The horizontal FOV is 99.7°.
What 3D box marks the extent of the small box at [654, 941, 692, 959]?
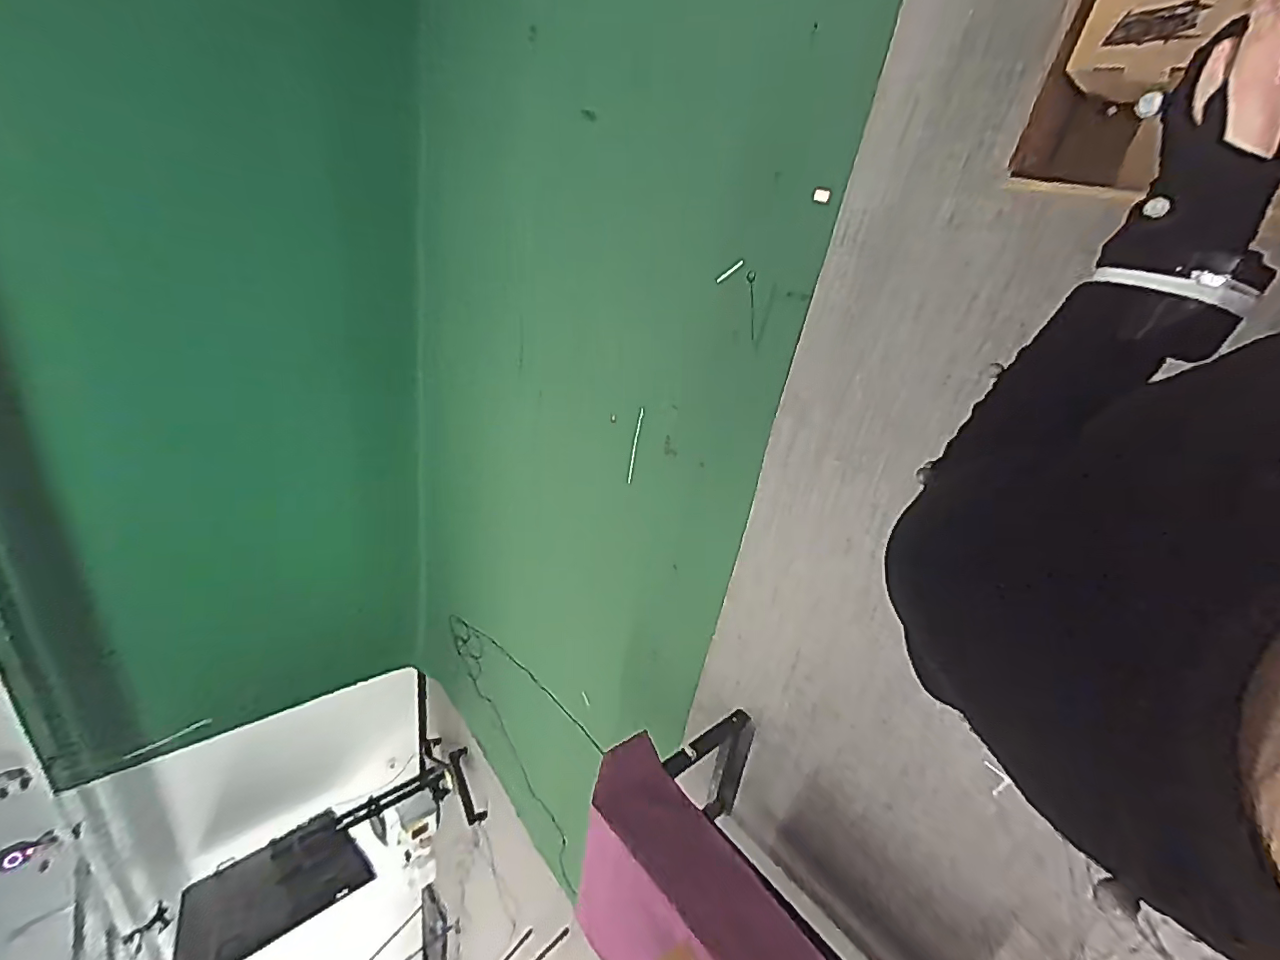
[{"bbox_3d":[0.075,1.344,1.379,0.168,0.176,0.179,33,123,41],"label":"small box"}]
